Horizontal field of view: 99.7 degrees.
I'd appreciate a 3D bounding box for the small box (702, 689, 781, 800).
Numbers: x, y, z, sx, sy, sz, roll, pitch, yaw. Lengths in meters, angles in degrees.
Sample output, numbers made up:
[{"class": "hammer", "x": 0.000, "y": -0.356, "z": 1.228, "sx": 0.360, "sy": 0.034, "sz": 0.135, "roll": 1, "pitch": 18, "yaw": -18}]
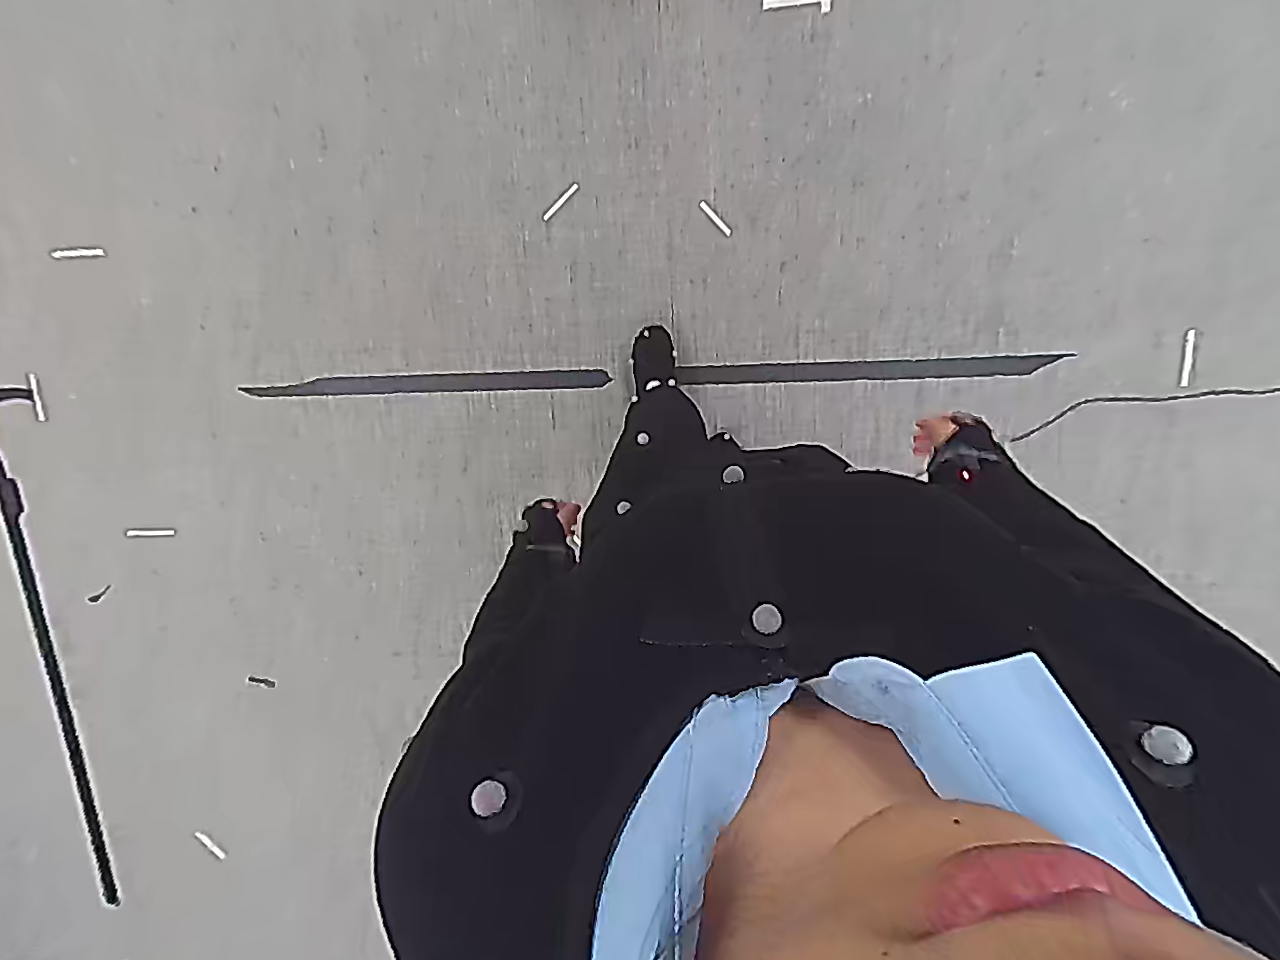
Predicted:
[{"class": "small box", "x": 0.239, "y": 0.635, "z": 1.308, "sx": 0.168, "sy": 0.176, "sz": 0.179, "roll": 0, "pitch": 99, "yaw": 3}]
